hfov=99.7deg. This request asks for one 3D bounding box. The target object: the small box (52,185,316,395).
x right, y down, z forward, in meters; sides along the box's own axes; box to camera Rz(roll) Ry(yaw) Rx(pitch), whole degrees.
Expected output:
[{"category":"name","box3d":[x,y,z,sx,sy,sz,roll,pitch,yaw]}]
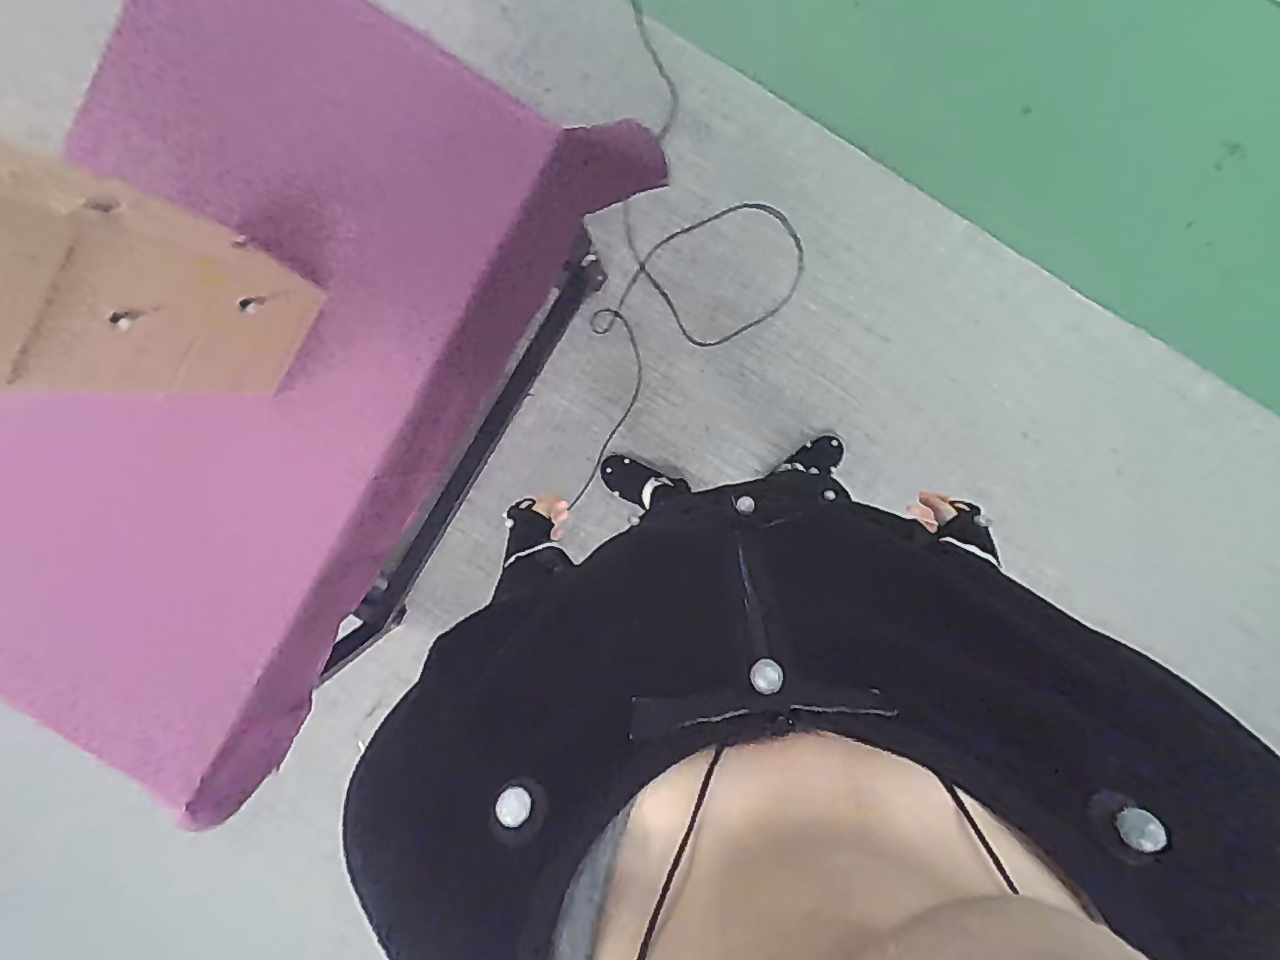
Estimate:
[{"category":"small box","box3d":[-0.563,-0.227,0.696,0.168,0.176,0.179,34,98,-1]}]
